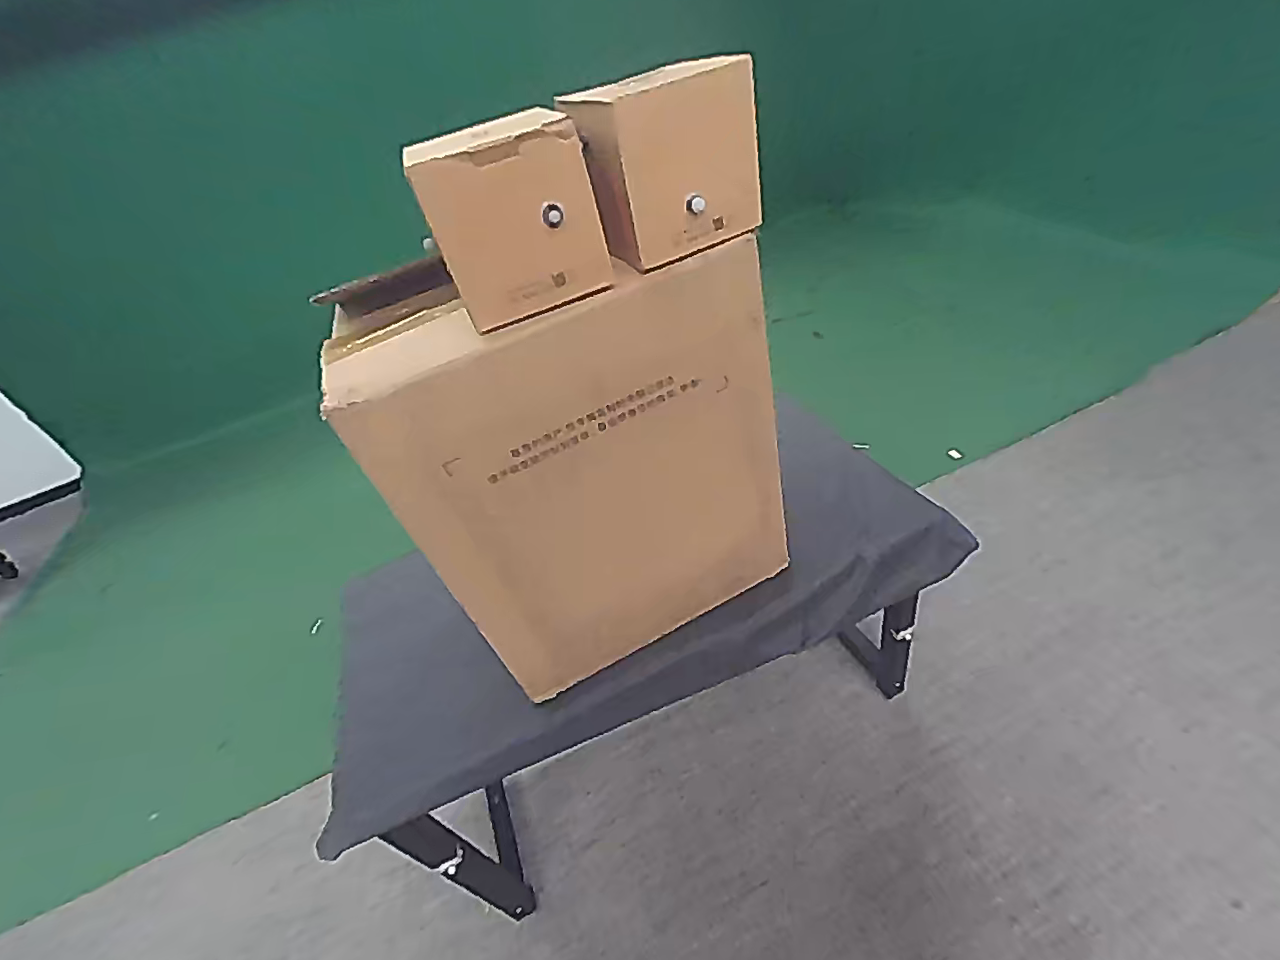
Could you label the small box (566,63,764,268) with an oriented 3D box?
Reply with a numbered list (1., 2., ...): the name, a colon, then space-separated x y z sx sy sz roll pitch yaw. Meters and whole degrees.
1. small box: 0.032 -0.373 0.648 0.168 0.176 0.179 -25 41 -11
